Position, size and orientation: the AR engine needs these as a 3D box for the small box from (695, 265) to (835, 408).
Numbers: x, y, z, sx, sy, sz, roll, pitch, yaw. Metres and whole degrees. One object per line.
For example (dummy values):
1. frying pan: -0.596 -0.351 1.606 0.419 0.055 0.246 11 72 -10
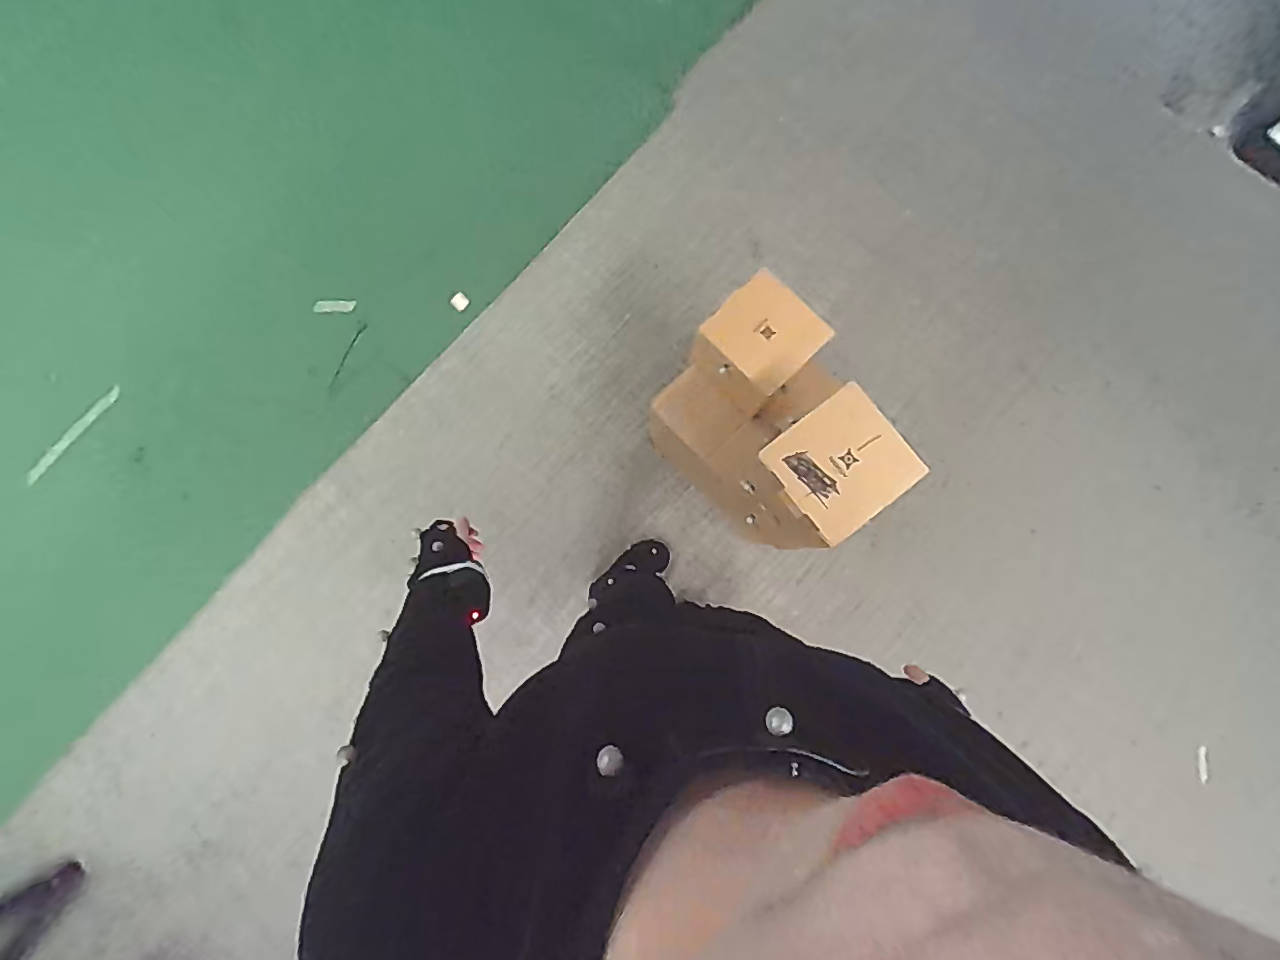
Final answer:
1. small box: 0.221 -0.252 1.007 0.168 0.176 0.179 -43 84 -4

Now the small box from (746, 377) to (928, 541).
1. small box: 0.277 -0.019 0.814 0.179 0.176 0.168 -37 85 -5

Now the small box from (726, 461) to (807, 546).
1. small box: 0.277 0.002 0.978 0.179 0.176 0.168 -41 84 -4
